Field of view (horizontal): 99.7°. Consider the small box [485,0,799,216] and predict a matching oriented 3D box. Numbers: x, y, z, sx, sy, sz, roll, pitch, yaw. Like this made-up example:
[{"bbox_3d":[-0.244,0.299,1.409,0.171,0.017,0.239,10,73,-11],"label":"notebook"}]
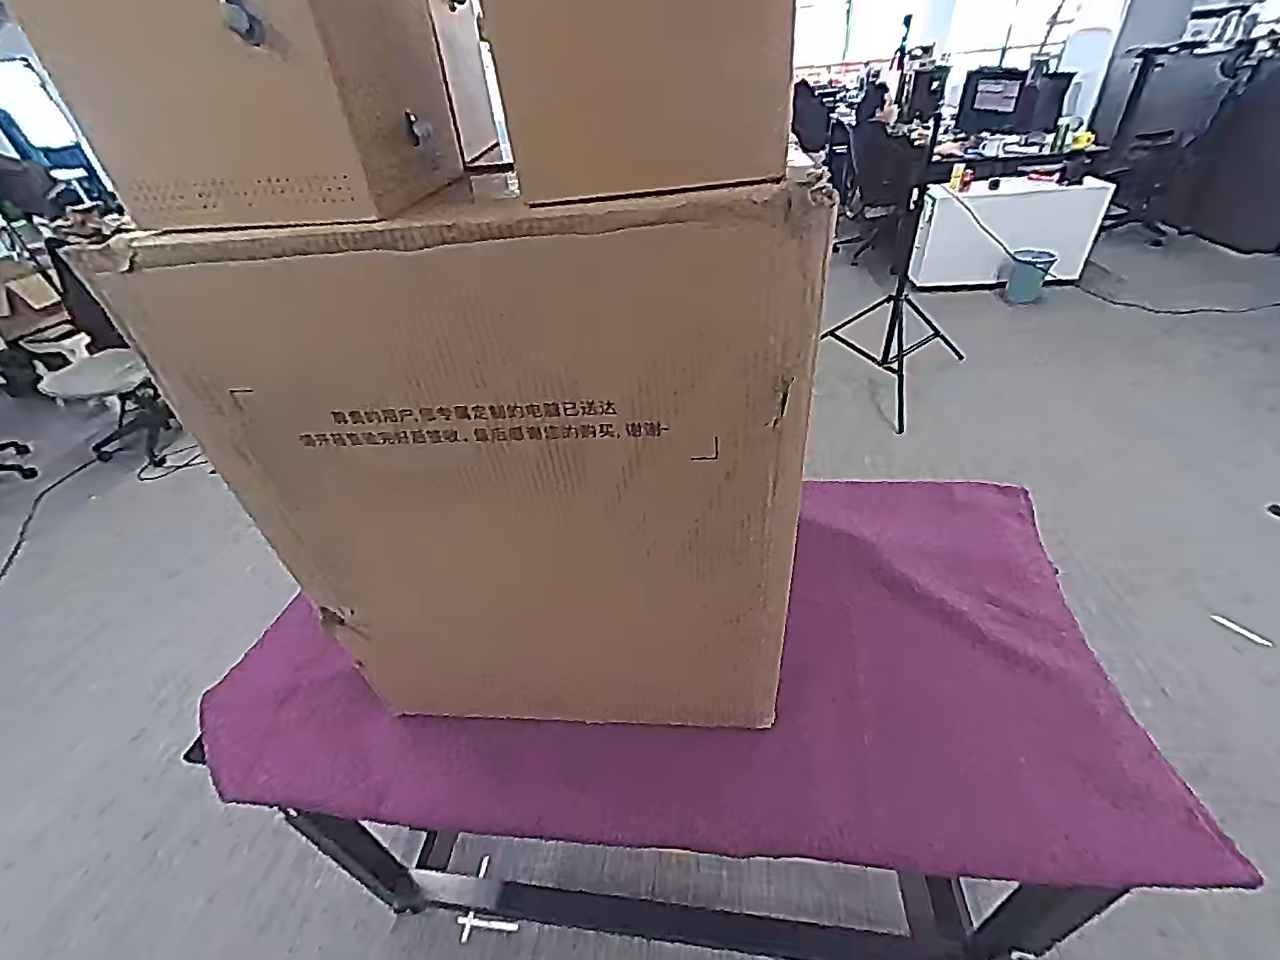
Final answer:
[{"bbox_3d":[0.007,-0.286,0.348,0.168,0.176,0.179,-3,37,7],"label":"small box"}]
